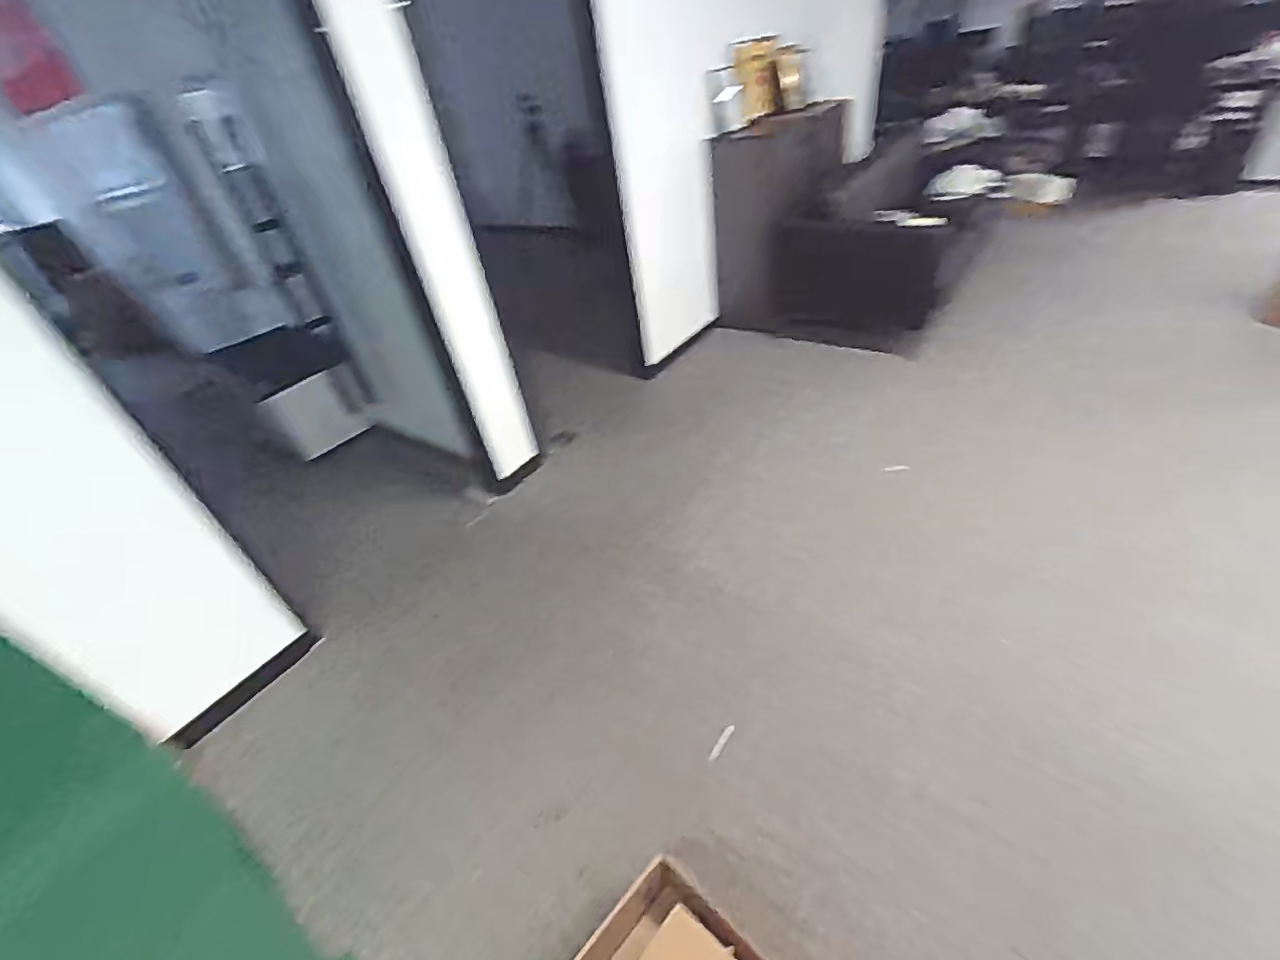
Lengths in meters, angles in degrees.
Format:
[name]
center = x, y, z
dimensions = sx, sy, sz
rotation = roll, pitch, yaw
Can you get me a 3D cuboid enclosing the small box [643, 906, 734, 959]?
[small box]
center = 0.092, 0.857, 0.880
dimensions = 0.179, 0.176, 0.168
rotation = 23, 50, 37
